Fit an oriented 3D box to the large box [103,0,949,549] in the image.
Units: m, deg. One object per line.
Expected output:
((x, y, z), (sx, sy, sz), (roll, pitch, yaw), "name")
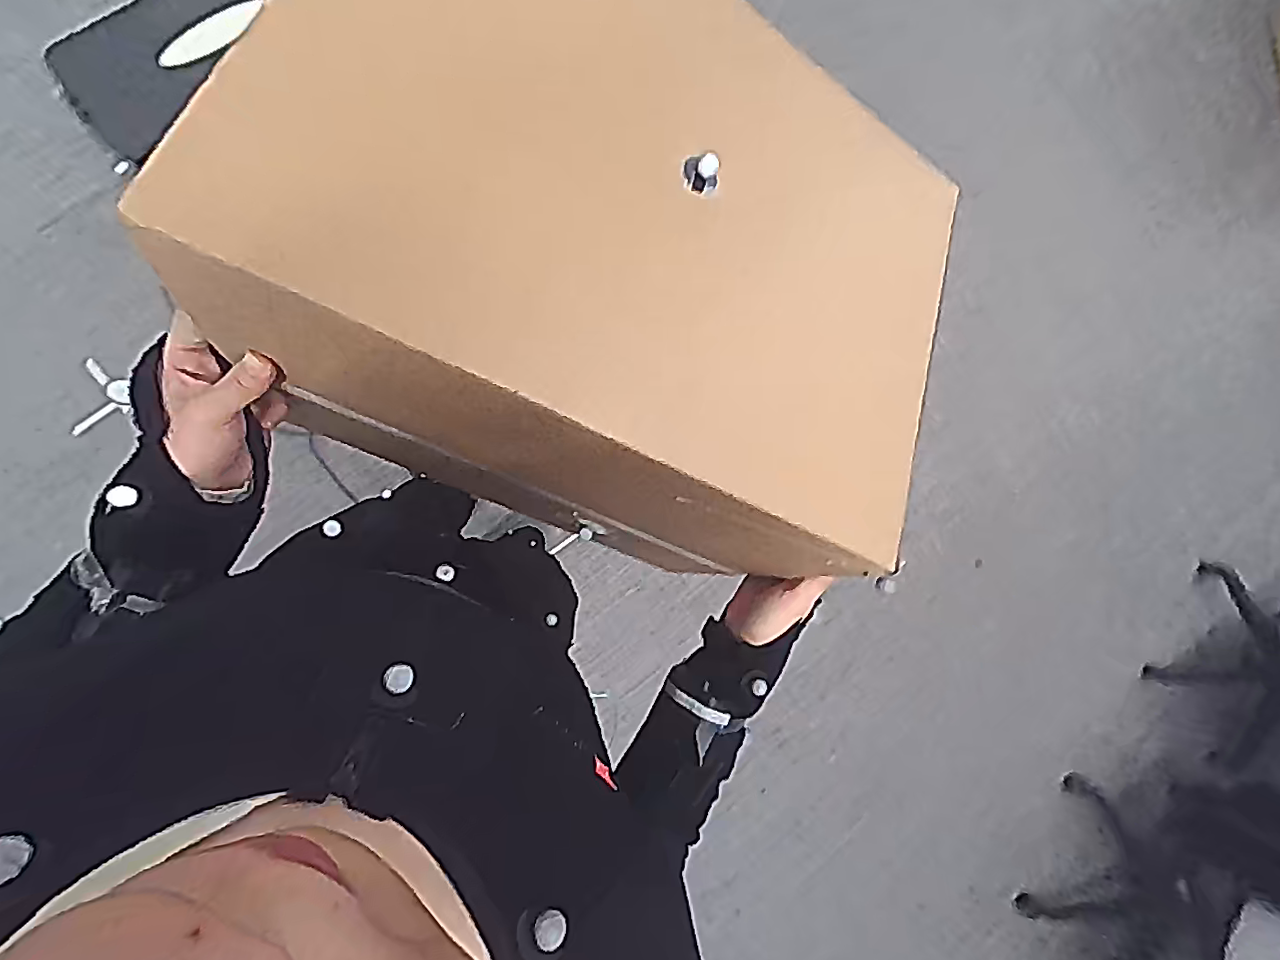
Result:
((-0.041, -0.156, 0.429), (0.408, 0.320, 0.320), (21, 76, -20), "large box")
